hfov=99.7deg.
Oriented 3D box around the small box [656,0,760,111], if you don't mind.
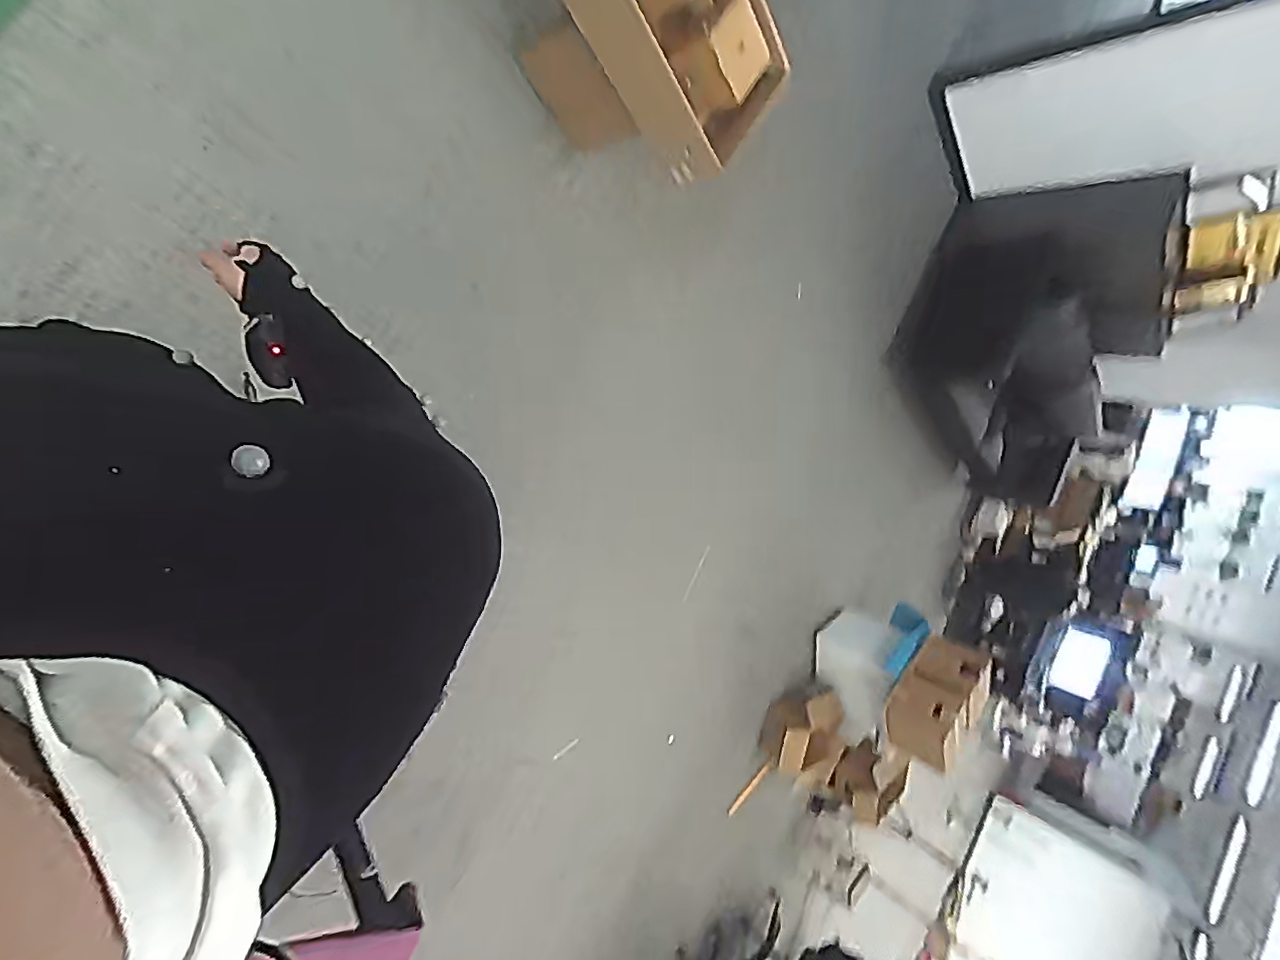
[{"bbox_3d":[0.174,-1.106,1.401,0.168,0.176,0.179,41,77,-43],"label":"small box"}]
